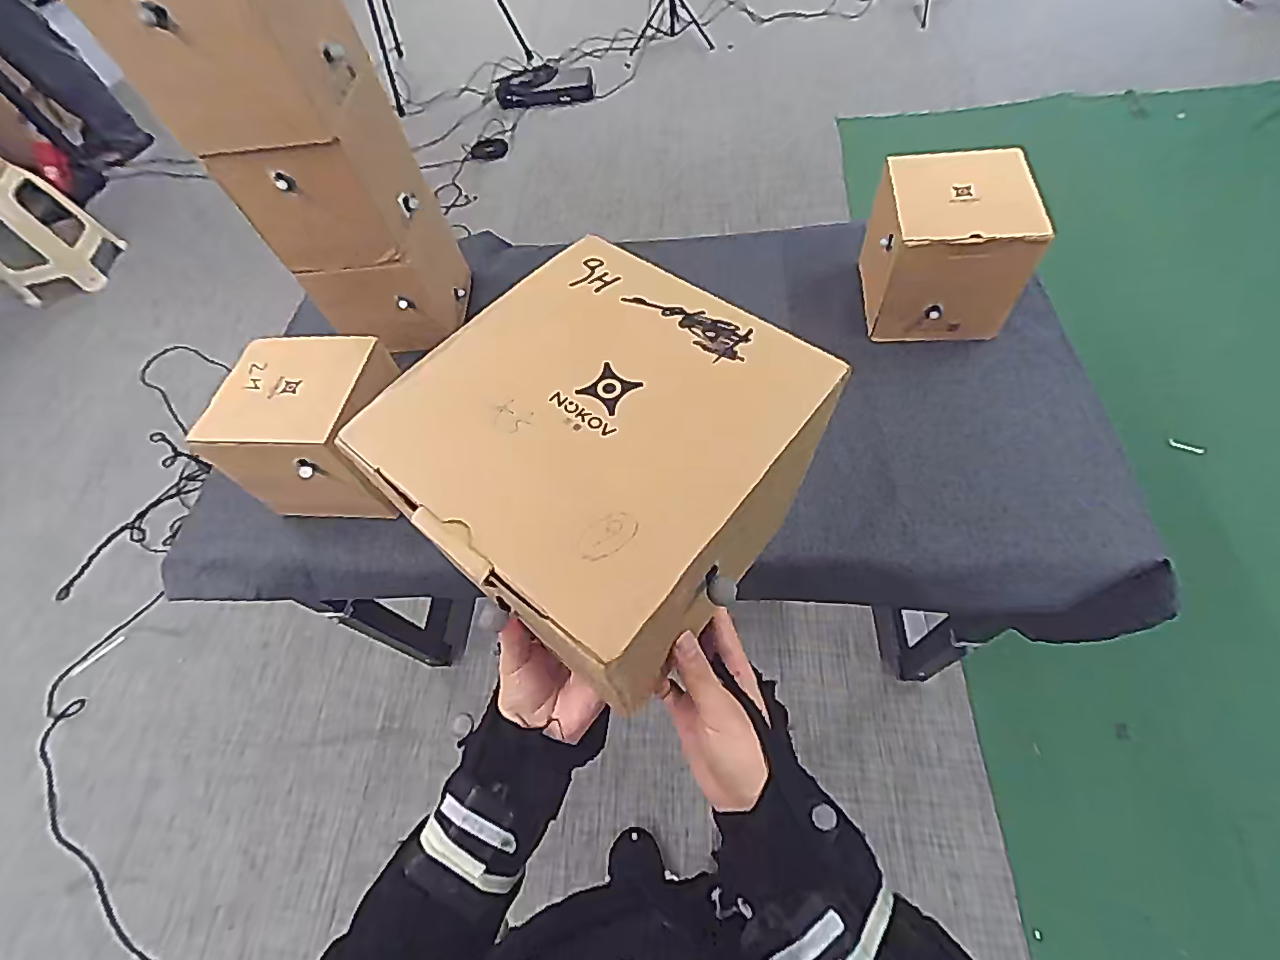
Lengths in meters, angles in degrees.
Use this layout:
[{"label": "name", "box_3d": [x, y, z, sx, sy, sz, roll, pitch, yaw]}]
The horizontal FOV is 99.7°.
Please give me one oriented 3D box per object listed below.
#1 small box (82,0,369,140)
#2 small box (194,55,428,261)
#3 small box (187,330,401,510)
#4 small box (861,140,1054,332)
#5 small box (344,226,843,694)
[{"label": "small box", "box_3d": [-0.423, -0.480, 0.558, 0.179, 0.176, 0.168, -2, 62, 5]}, {"label": "small box", "box_3d": [-0.408, -0.409, 0.706, 0.179, 0.176, 0.168, -4, 62, 4]}, {"label": "small box", "box_3d": [-0.401, -0.072, 0.695, 0.179, 0.176, 0.168, 1, 58, 8]}, {"label": "small box", "box_3d": [0.409, -0.326, 0.735, 0.168, 0.176, 0.179, 1, 62, 9]}, {"label": "small box", "box_3d": [-0.015, -0.001, 0.316, 0.168, 0.176, 0.179, 34, 69, 19]}]
